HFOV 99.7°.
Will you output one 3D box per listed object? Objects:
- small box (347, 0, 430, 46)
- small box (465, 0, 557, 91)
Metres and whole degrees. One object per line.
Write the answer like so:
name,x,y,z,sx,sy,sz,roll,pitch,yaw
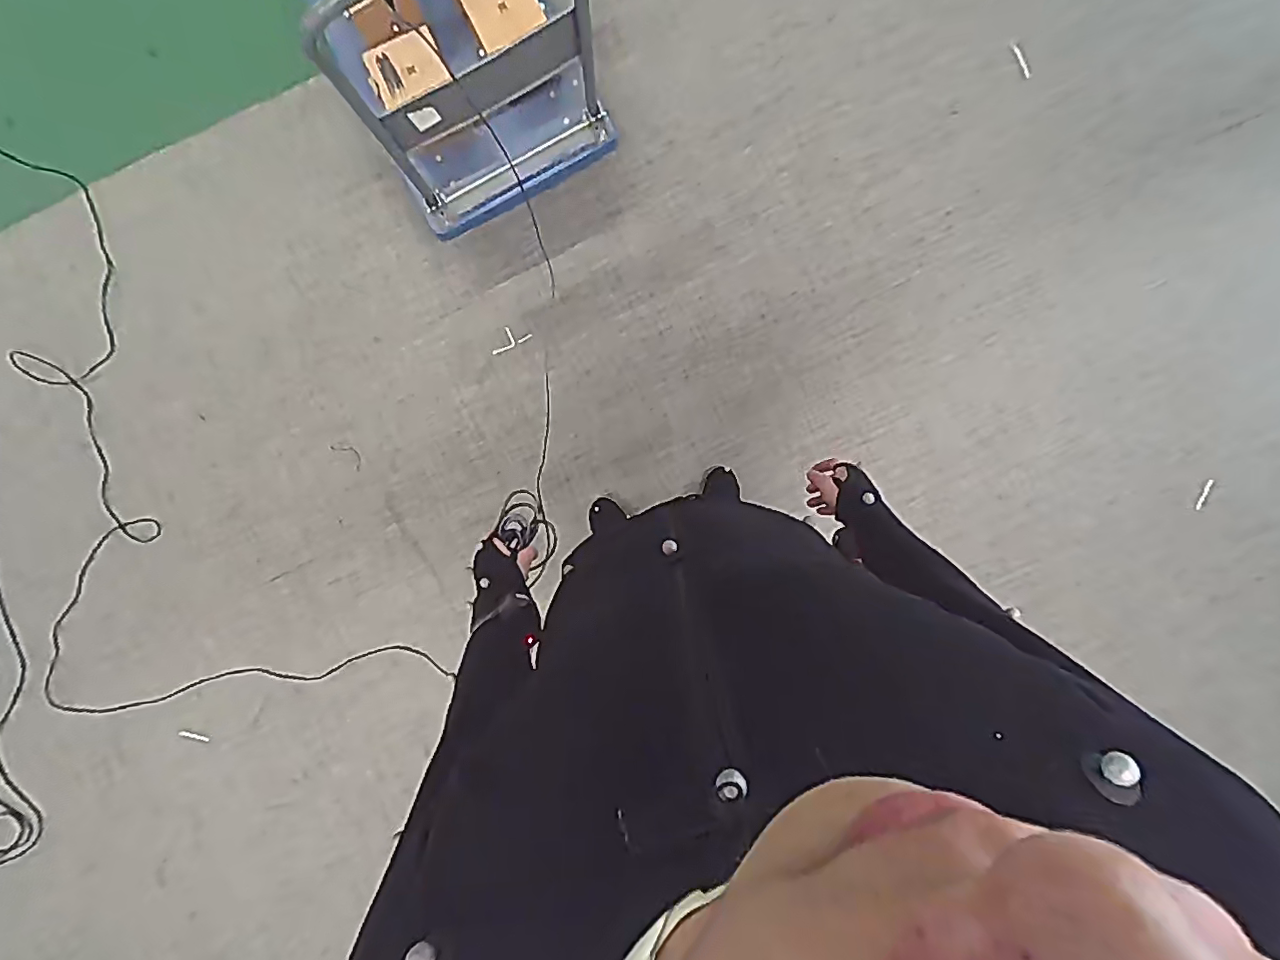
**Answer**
small box,-0.664,-1.247,1.358,0.168,0.176,0.179,-31,91,0
small box,-0.325,-1.142,1.359,0.168,0.176,0.179,-27,92,1
